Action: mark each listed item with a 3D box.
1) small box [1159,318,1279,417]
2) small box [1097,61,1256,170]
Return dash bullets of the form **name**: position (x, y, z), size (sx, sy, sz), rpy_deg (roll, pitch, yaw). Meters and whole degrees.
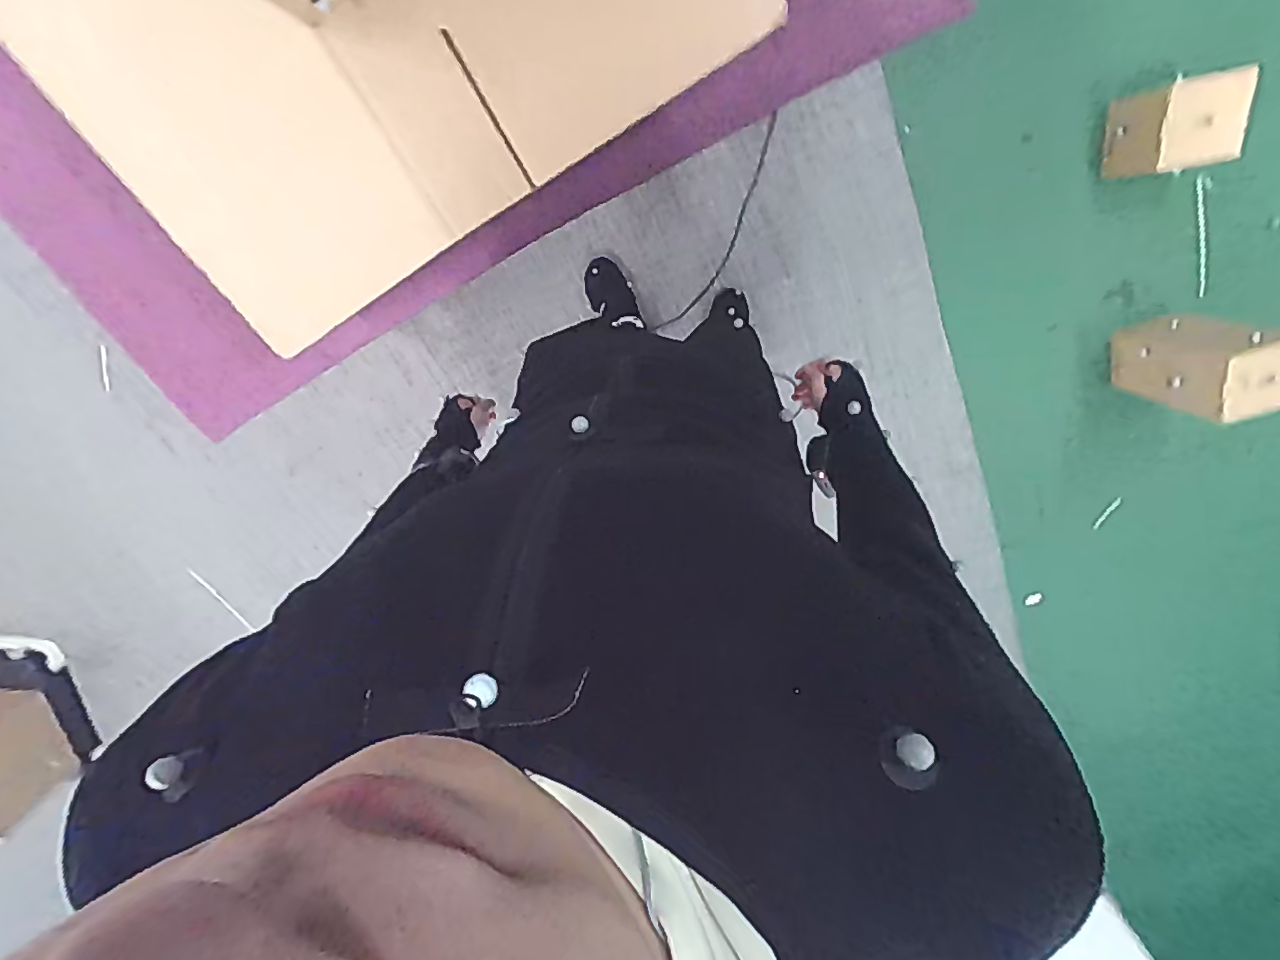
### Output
- **small box**: position (1.424, -0.278, 1.306), size (0.179, 0.176, 0.168), rpy_deg (-18, 114, 8)
- **small box**: position (1.208, -0.821, 1.233), size (0.179, 0.176, 0.168), rpy_deg (-10, 115, 6)
